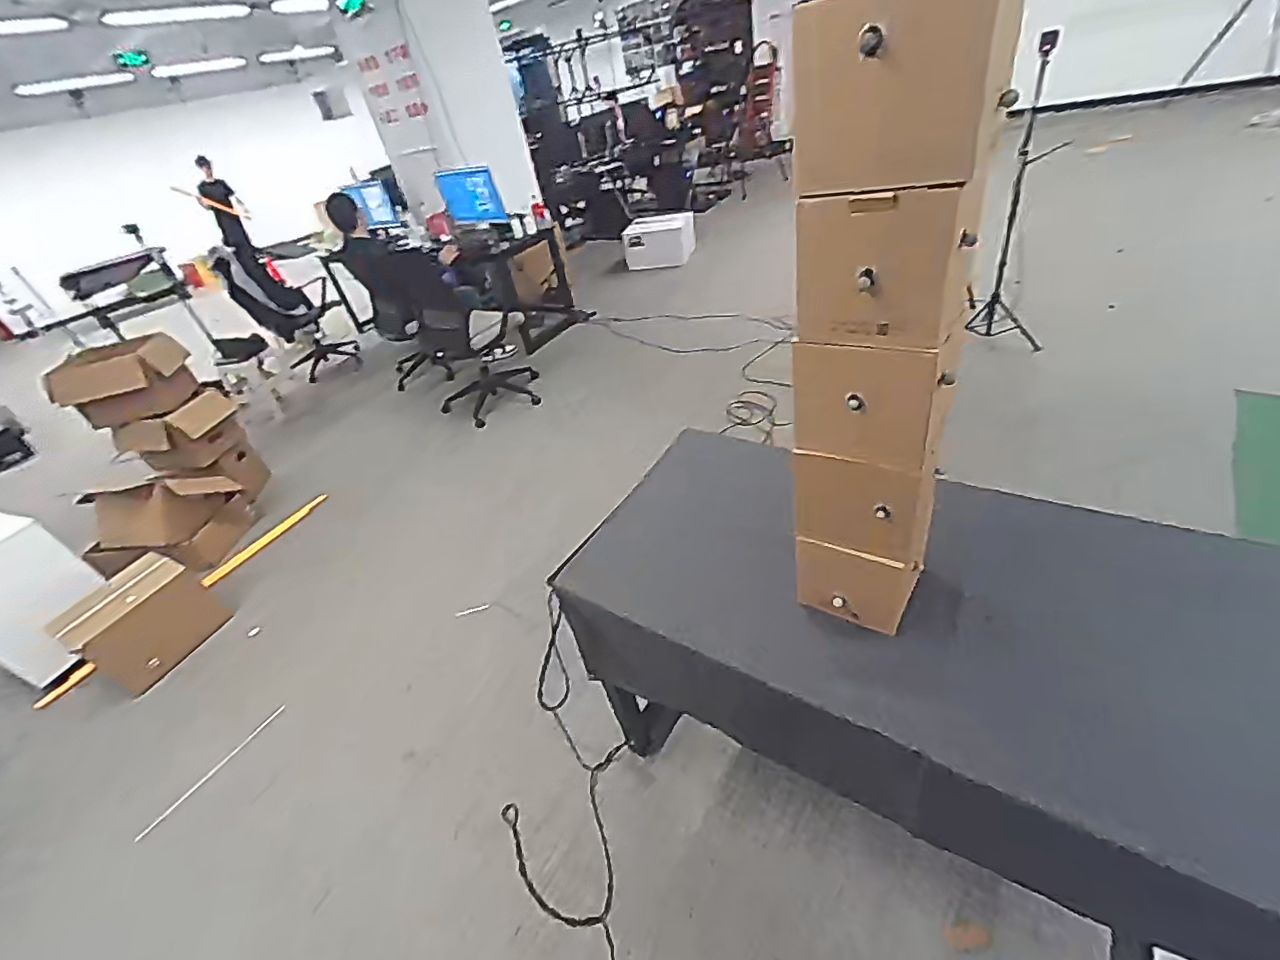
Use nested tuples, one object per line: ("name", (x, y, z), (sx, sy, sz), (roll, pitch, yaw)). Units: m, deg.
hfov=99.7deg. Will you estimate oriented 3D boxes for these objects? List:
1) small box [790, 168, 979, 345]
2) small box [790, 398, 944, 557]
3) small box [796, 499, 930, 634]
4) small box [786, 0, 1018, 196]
("small box", (0.297, -0.277, 0.660), (0.168, 0.176, 0.179), (14, 44, 33))
("small box", (0.346, -0.006, 0.836), (0.179, 0.176, 0.168), (14, 43, 32))
("small box", (0.378, 0.125, 0.927), (0.168, 0.176, 0.179), (16, 46, 34))
("small box", (0.267, -0.406, 0.561), (0.179, 0.176, 0.168), (15, 43, 34))
